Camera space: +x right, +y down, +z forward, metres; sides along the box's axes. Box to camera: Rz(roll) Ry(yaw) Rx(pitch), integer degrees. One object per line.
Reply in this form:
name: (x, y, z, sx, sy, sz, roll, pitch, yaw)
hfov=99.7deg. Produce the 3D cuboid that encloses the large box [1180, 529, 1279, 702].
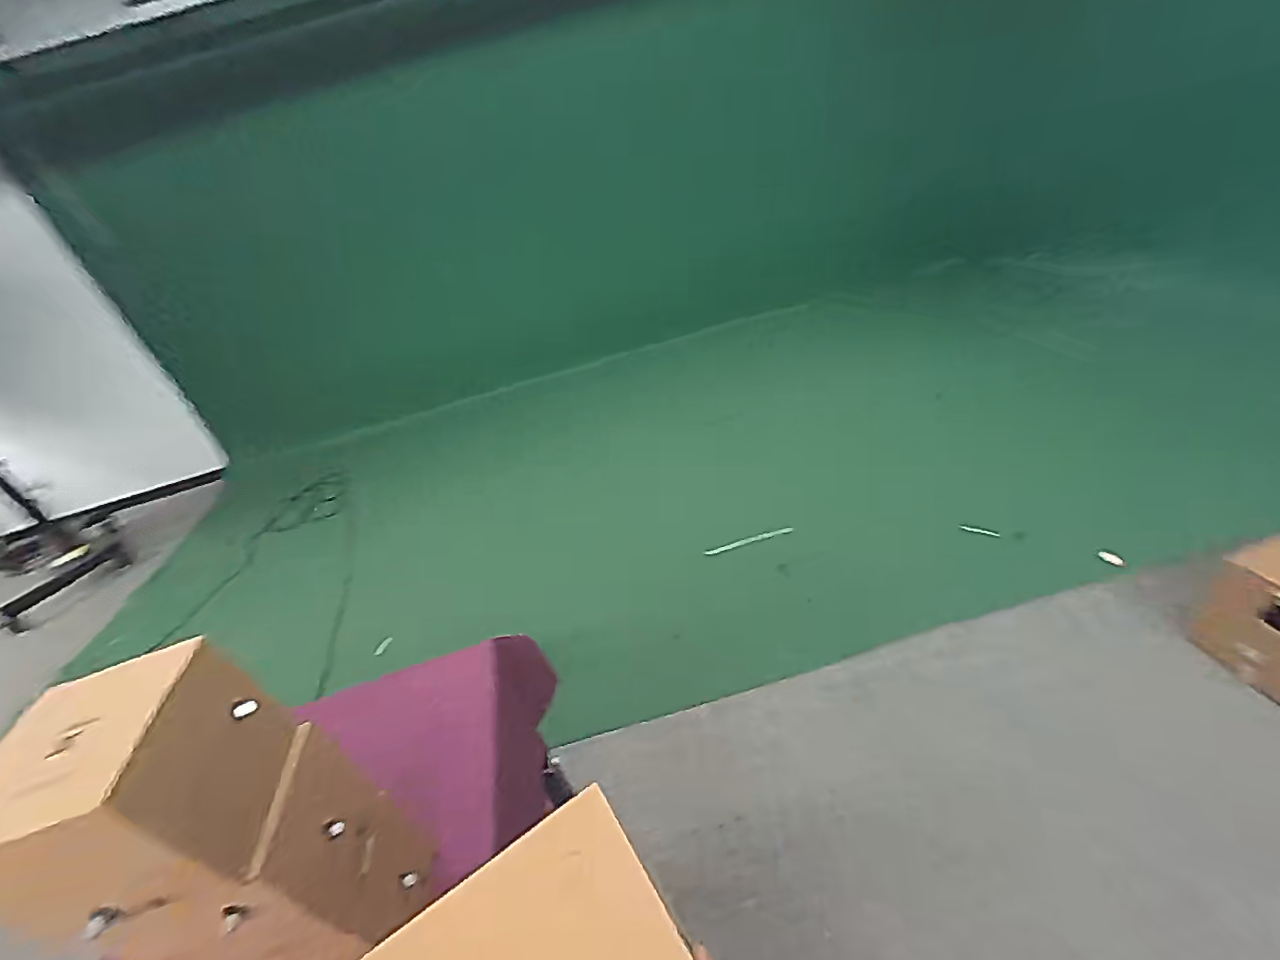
large box: (1.703, 0.323, 1.334, 0.408, 0.320, 0.320, -17, 33, -3)

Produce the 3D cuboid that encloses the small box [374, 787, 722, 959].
small box: (-0.027, 0.326, 0.304, 0.179, 0.176, 0.168, -30, 40, -16)

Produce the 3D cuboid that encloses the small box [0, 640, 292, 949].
small box: (-0.475, 0.293, 0.515, 0.168, 0.176, 0.179, -20, 35, -2)

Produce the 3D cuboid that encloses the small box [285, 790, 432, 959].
small box: (-0.393, 0.549, 0.705, 0.179, 0.176, 0.168, -18, 34, -3)

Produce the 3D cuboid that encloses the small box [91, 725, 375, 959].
small box: (-0.432, 0.419, 0.610, 0.179, 0.176, 0.168, -19, 34, -2)
